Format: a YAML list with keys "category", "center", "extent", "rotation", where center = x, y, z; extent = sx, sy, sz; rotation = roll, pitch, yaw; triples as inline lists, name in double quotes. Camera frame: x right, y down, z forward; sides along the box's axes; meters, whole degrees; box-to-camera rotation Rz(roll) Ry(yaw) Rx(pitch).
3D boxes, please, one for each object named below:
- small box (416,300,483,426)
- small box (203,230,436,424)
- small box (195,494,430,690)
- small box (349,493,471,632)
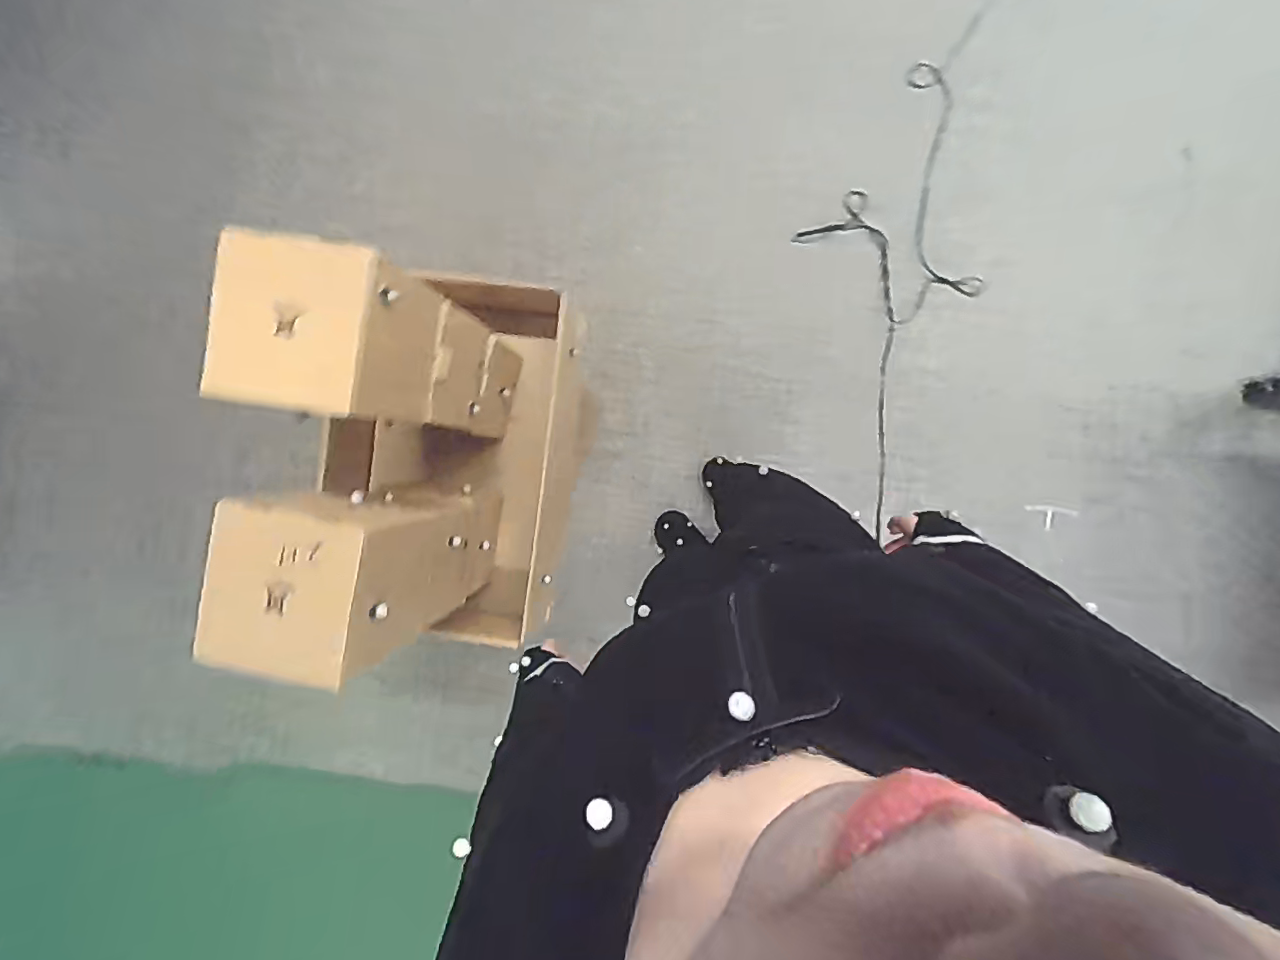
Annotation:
- category: "small box"
  center: [-0.349, -0.174, 0.798]
  extent: [0.179, 0.176, 0.168]
  rotation: [10, 93, 4]
- category: "small box"
  center: [-0.360, -0.164, 0.637]
  extent: [0.168, 0.176, 0.179]
  rotation: [9, 92, 3]
- category: "small box"
  center: [-0.372, 0.119, 0.645]
  extent: [0.168, 0.176, 0.179]
  rotation: [10, 91, 2]
- category: "small box"
  center: [-0.370, 0.112, 0.809]
  extent: [0.179, 0.176, 0.168]
  rotation: [7, 91, 3]
